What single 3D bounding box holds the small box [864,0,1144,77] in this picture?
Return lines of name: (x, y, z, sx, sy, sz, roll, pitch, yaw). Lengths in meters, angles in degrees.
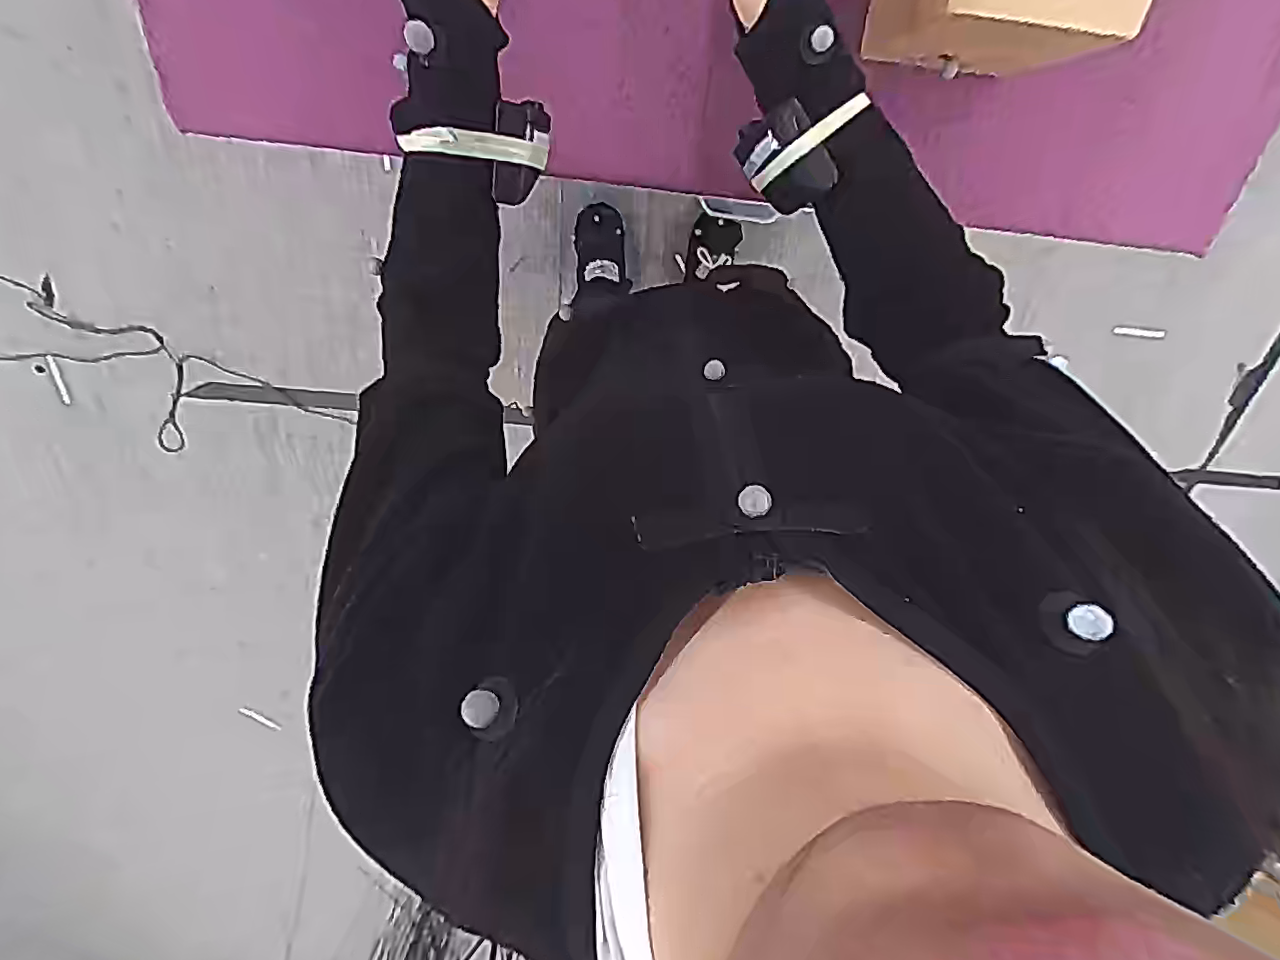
small box: (0.320, -0.477, 0.464, 0.168, 0.176, 0.179, 4, 118, -6)
